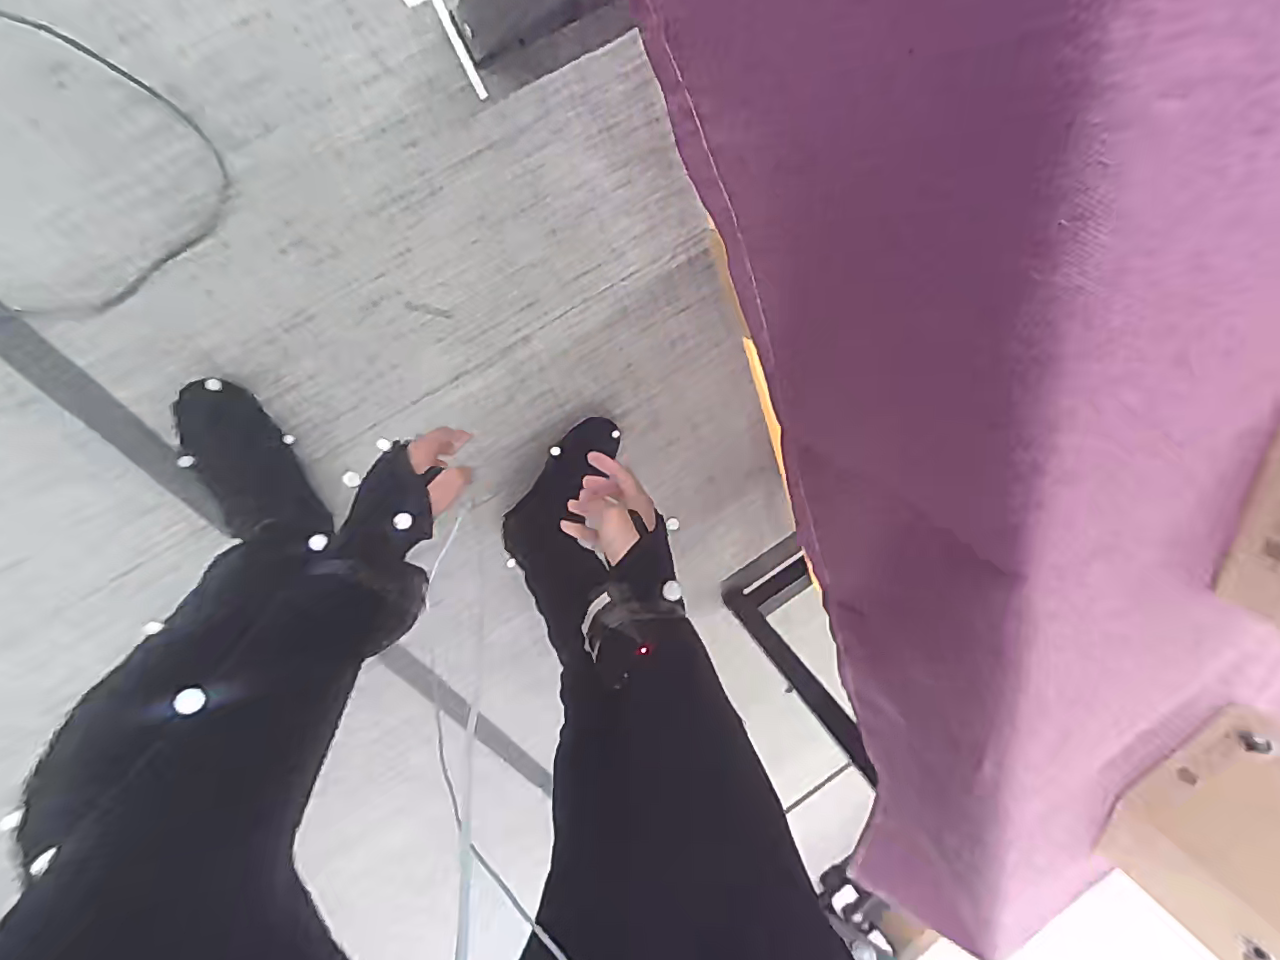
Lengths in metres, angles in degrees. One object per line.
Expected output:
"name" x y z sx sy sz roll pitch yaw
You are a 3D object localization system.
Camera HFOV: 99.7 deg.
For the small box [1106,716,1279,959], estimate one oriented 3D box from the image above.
"small box" 0.598 0.361 0.517 0.168 0.176 0.179 -32 127 -5
